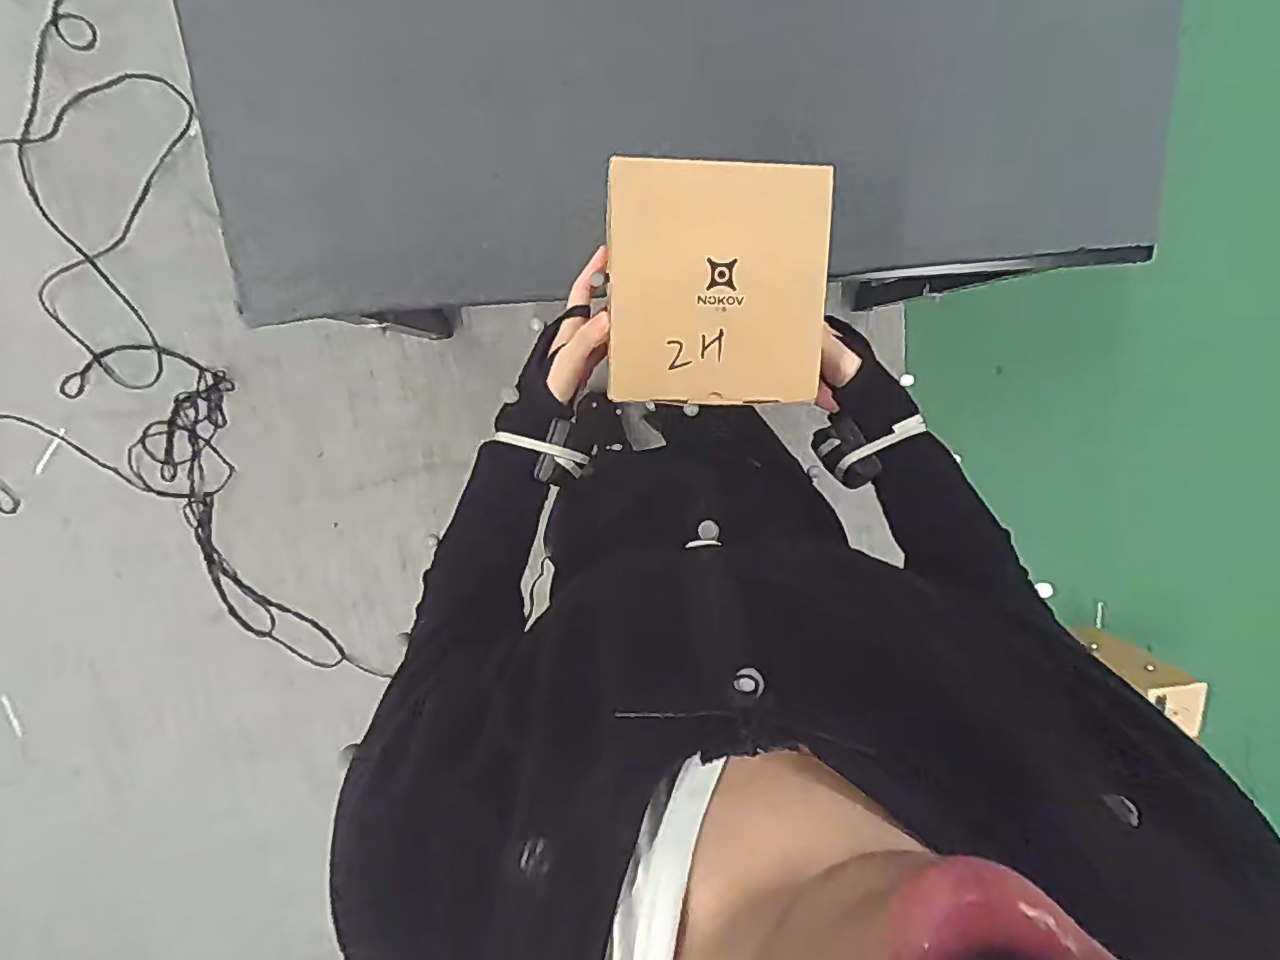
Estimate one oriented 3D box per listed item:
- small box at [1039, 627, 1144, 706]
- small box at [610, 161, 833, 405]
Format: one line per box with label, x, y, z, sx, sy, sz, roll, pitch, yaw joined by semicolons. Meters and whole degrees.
small box;1.388;0.570;1.671;0.179;0.176;0.168;-5;101;-5
small box;0.057;-0.160;0.491;0.168;0.176;0.179;0;101;-4
